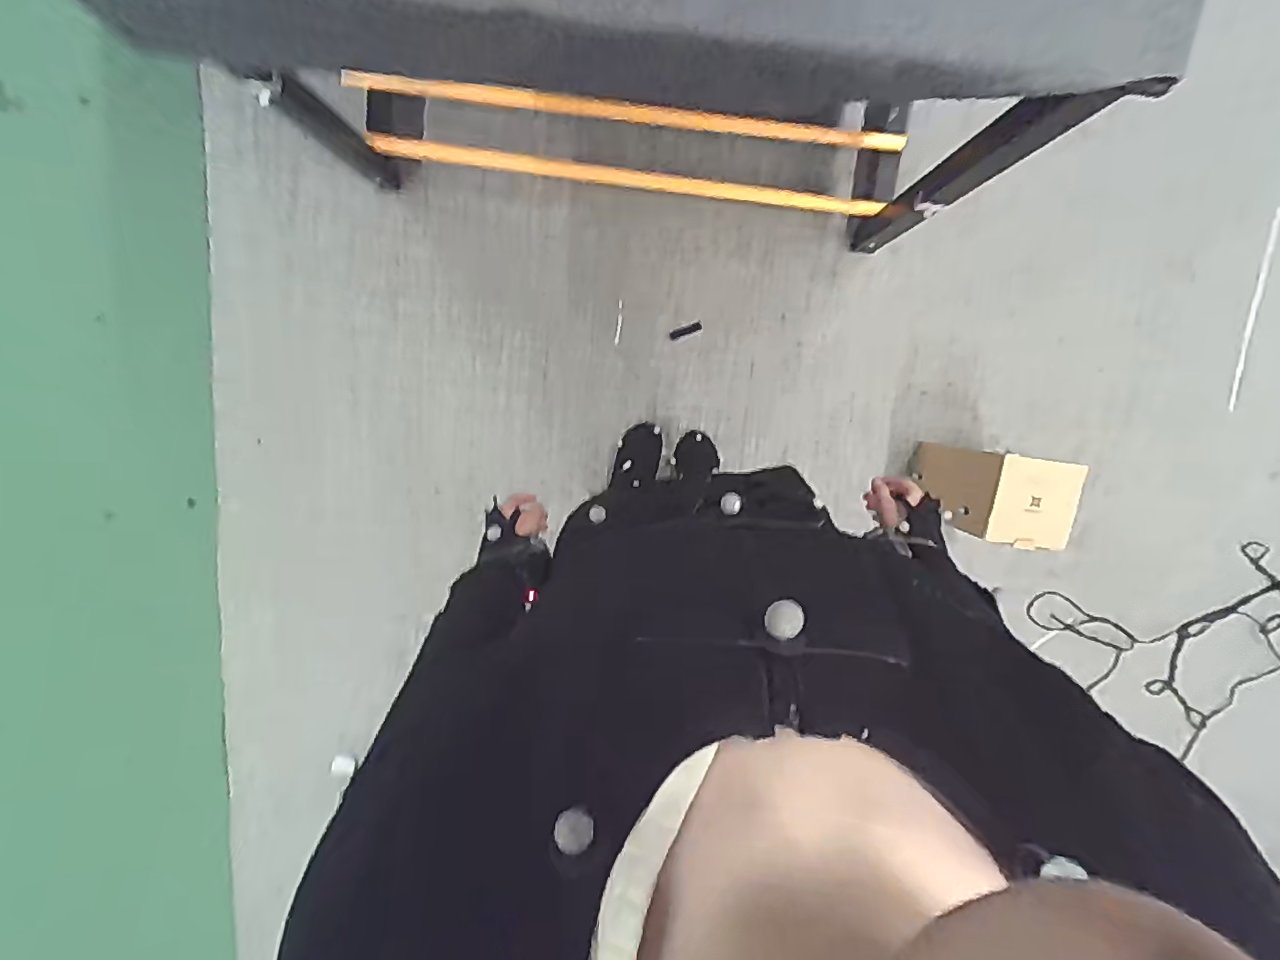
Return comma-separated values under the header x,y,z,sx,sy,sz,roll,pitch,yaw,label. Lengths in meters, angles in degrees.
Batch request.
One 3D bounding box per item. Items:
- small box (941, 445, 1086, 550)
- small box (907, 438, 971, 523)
x,y,z,sx,sy,sz,roll,pitch,yaw,label
0.759,0.029,1.122,0.168,0.176,0.179,8,98,-2,small box
0.764,0.006,1.283,0.168,0.176,0.179,9,101,-1,small box
